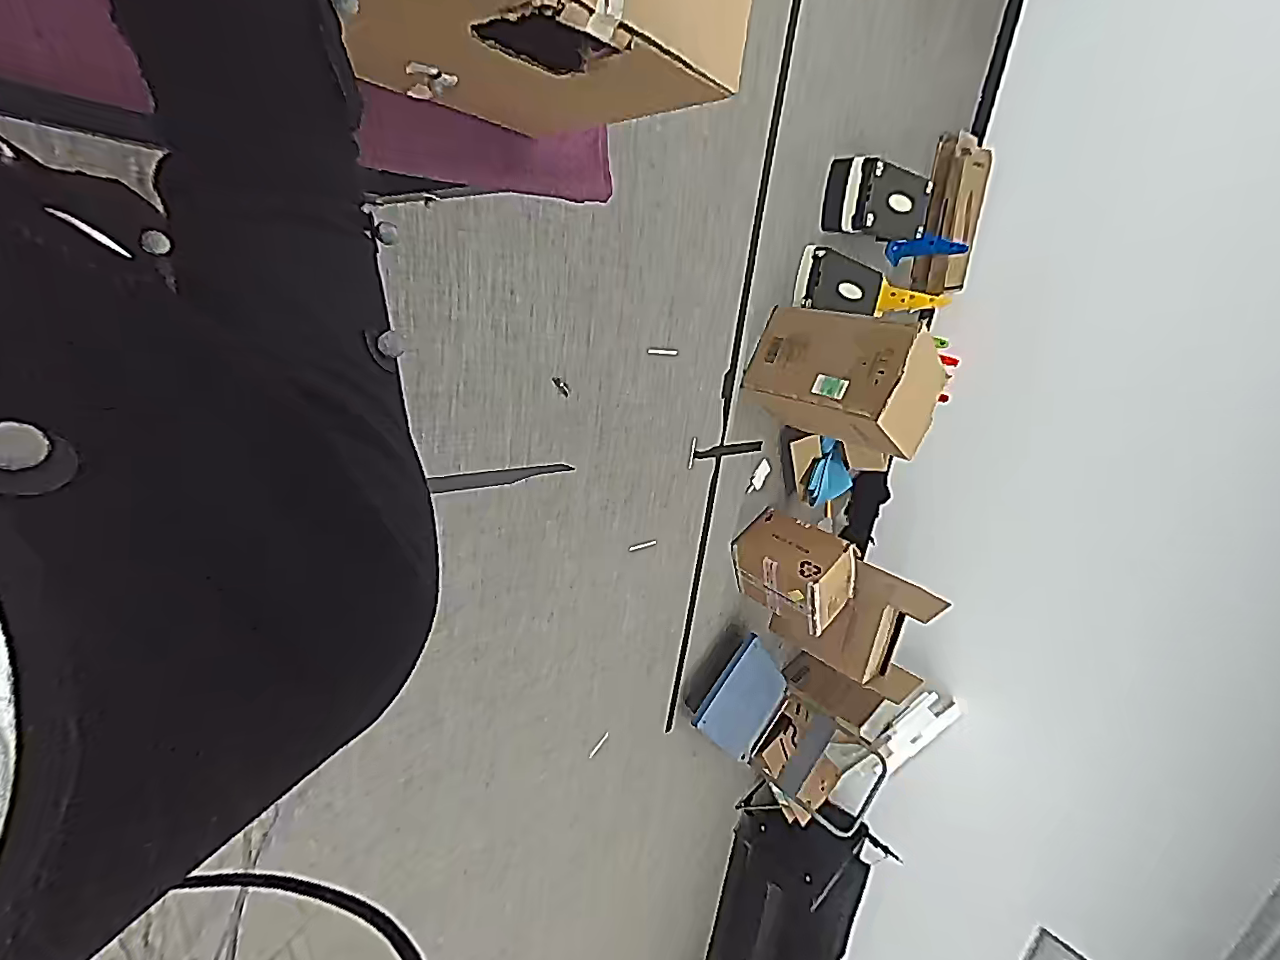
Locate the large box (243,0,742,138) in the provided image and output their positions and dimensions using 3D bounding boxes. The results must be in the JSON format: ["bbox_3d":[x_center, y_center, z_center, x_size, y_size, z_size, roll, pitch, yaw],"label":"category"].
[{"bbox_3d":[-0.113,-0.543,0.411,0.320,0.320,0.408,-11,114,-44],"label":"large box"}]
